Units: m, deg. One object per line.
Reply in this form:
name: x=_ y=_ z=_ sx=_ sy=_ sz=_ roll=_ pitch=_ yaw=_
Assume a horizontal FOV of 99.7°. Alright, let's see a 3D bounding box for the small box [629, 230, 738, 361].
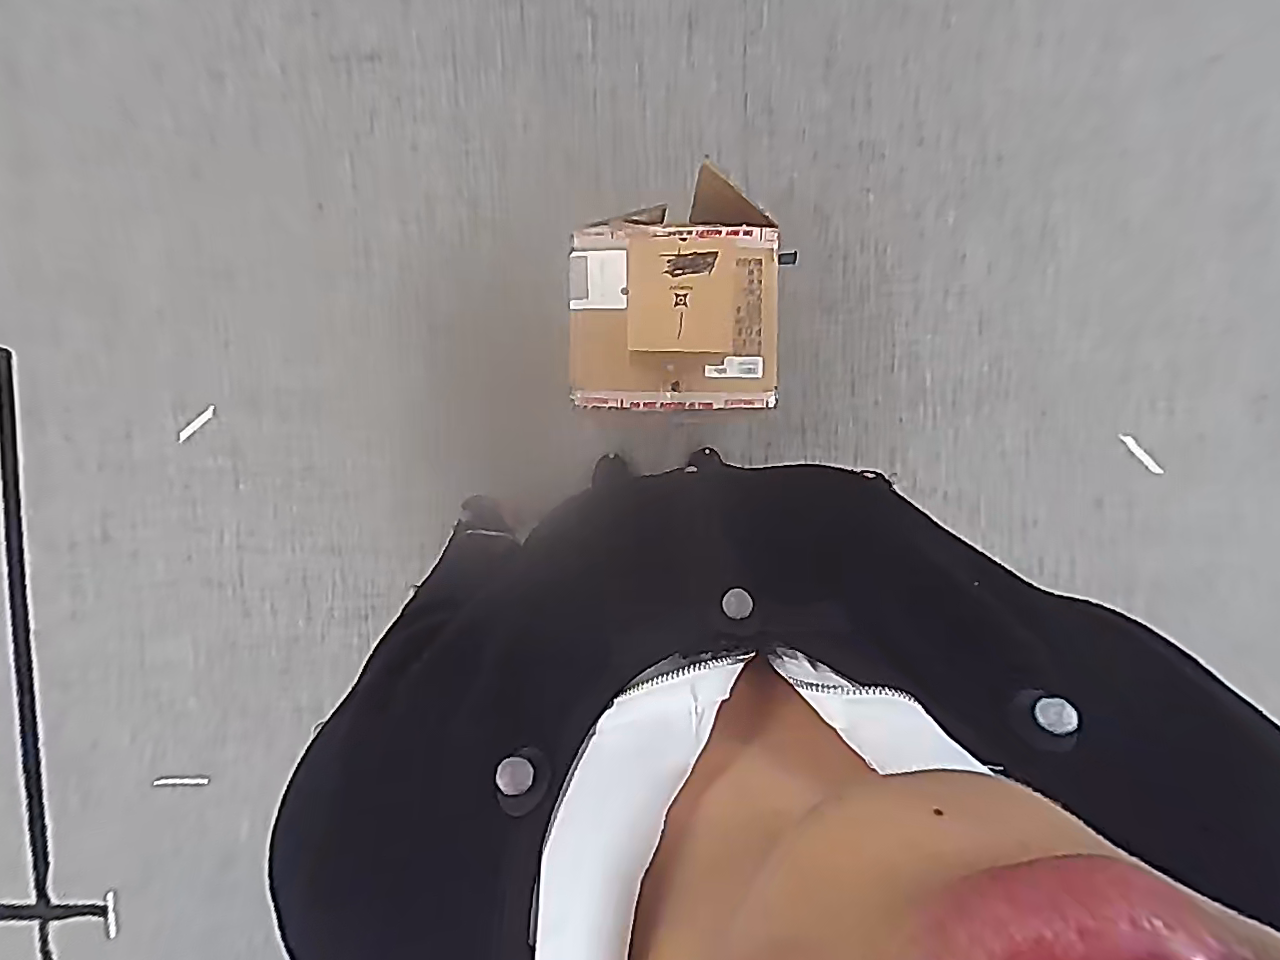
small box: x=0.065 y=-0.301 z=0.914 sx=0.168 sy=0.176 sz=0.179 roll=1 pitch=96 yaw=0
